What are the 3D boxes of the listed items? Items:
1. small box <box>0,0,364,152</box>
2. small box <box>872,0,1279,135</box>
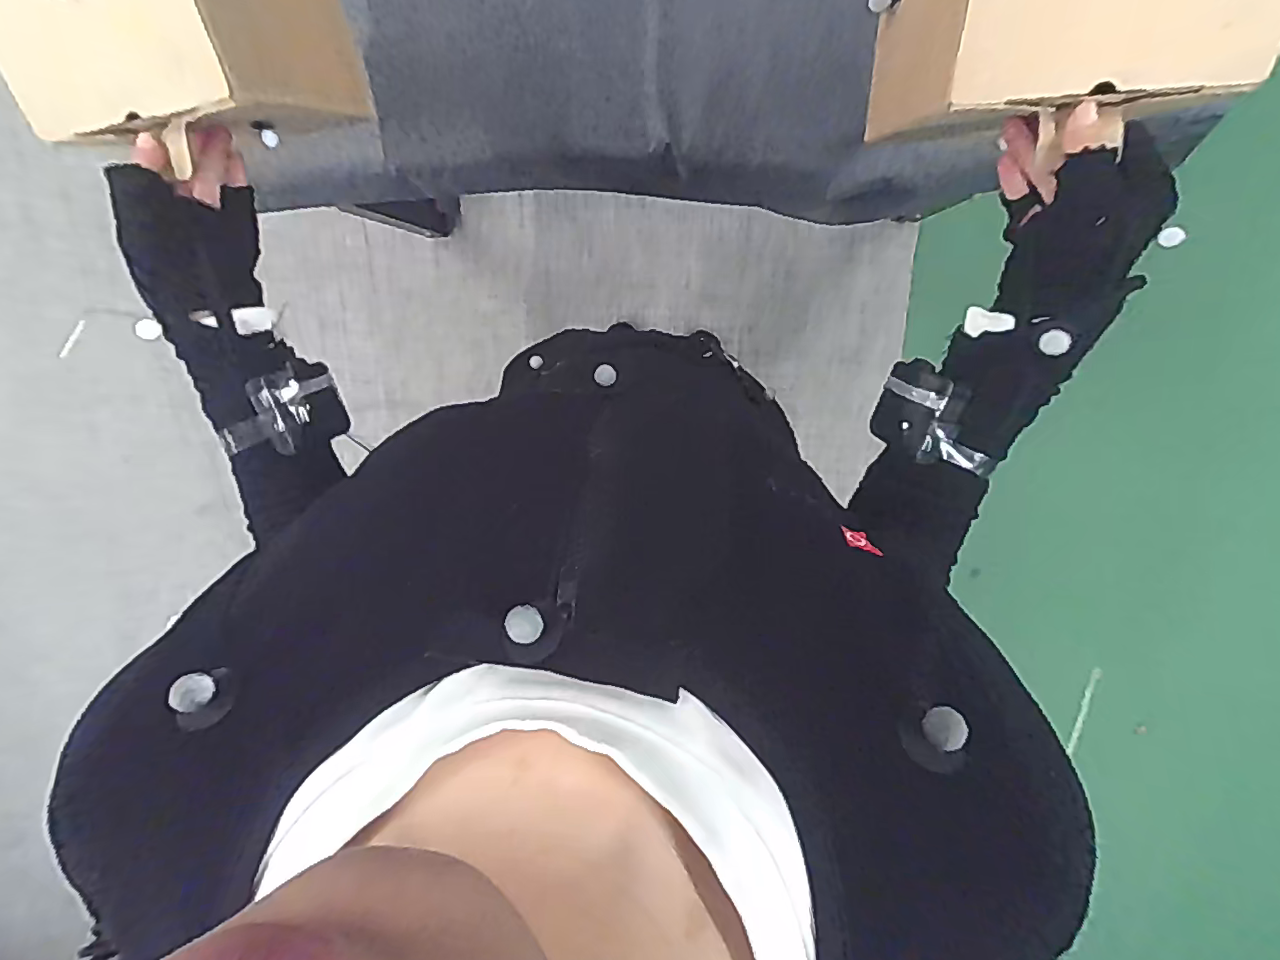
[{"bbox_3d":[-0.339,-0.349,0.390,0.168,0.176,0.179,-4,119,10],"label":"small box"},{"bbox_3d":[0.260,-0.324,0.336,0.168,0.176,0.179,0,117,5],"label":"small box"}]
